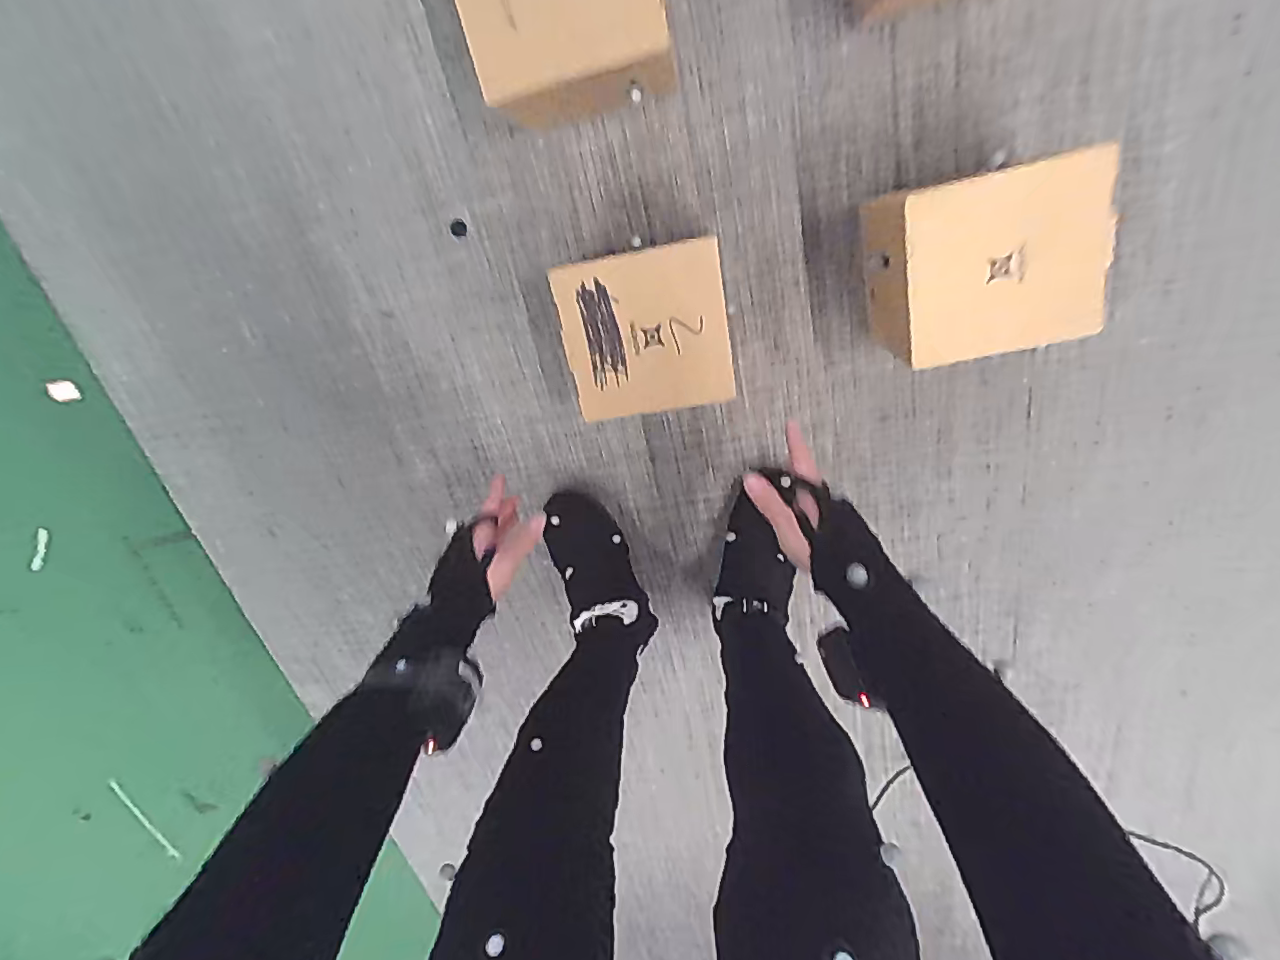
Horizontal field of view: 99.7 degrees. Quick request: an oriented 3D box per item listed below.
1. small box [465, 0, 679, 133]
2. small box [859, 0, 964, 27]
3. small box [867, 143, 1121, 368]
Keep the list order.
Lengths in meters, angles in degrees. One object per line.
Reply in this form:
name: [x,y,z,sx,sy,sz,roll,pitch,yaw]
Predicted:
small box: [-0.059,-0.461,0.523,0.179,0.176,0.168,-9,112,11]
small box: [0.286,-0.523,0.450,0.179,0.176,0.168,-10,113,11]
small box: [0.353,-0.232,0.578,0.179,0.176,0.168,-11,112,11]
